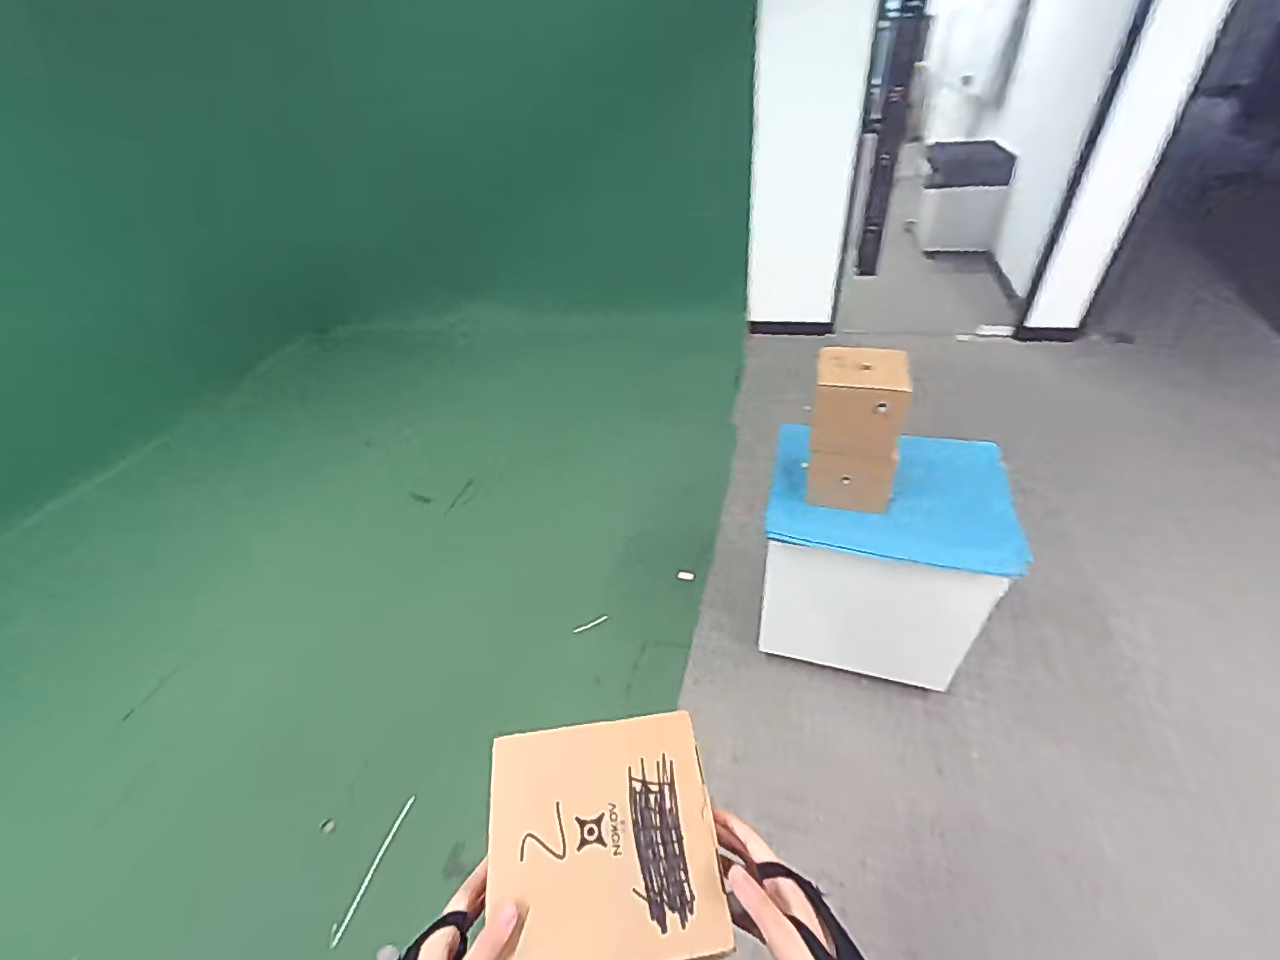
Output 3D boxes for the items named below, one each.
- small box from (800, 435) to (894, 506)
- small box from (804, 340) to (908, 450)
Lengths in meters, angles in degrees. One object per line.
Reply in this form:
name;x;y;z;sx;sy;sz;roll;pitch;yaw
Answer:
small box;0.480;-0.058;1.267;0.179;0.176;0.168;7;43;15
small box;0.456;-0.181;1.160;0.179;0.176;0.168;7;42;15
